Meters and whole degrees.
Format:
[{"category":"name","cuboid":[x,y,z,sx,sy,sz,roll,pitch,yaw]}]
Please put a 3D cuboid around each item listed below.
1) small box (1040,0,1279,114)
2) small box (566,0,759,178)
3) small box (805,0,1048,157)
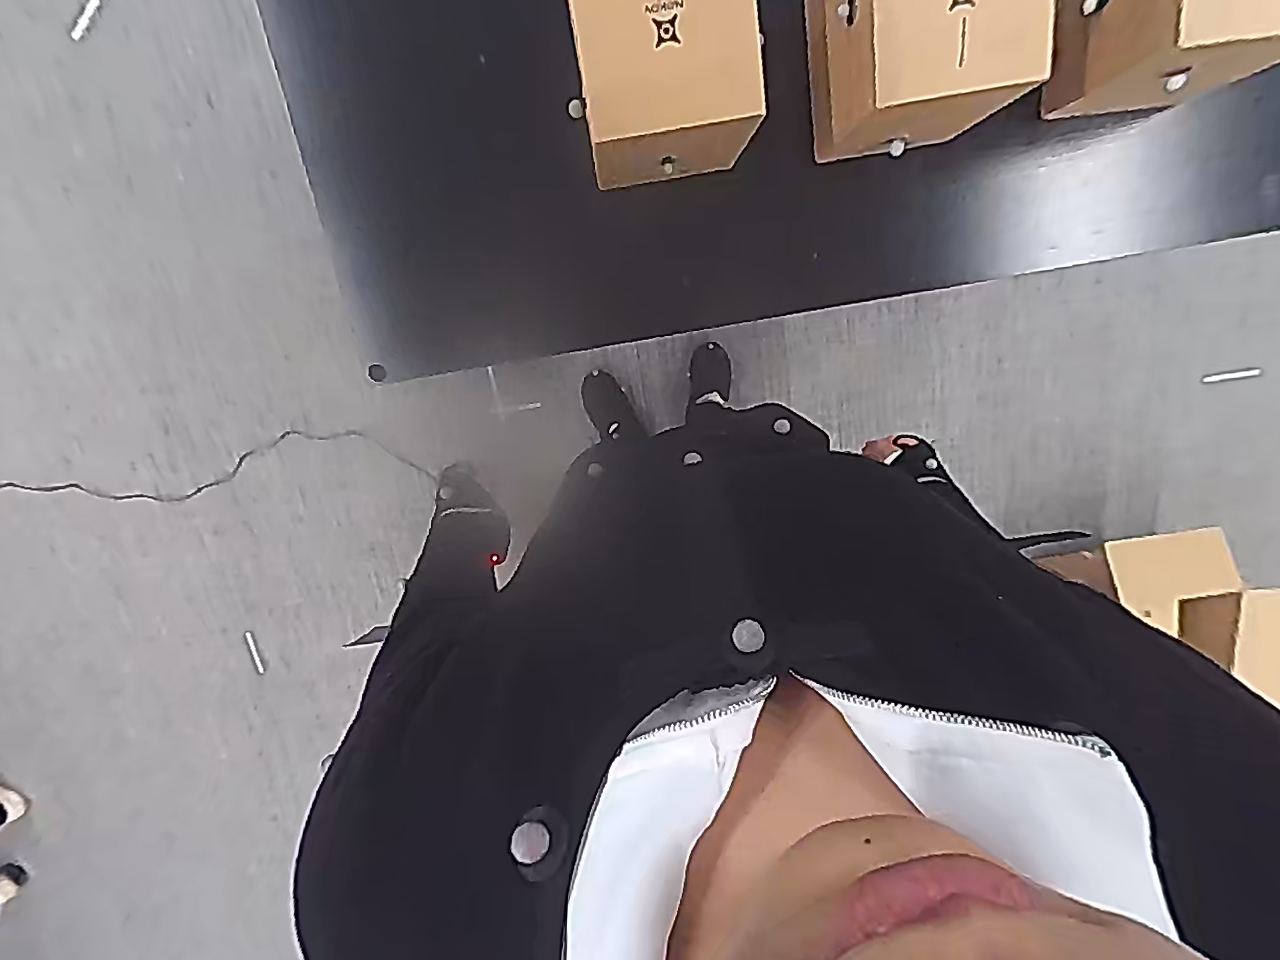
[{"category":"small box","cuboid":[0.558,-0.507,0.558,0.179,0.176,0.168,-6,105,1]},{"category":"small box","cuboid":[0.017,-0.432,0.558,0.168,0.176,0.179,-9,105,0]},{"category":"small box","cuboid":[0.280,-0.466,0.559,0.168,0.176,0.179,-9,105,1]}]
